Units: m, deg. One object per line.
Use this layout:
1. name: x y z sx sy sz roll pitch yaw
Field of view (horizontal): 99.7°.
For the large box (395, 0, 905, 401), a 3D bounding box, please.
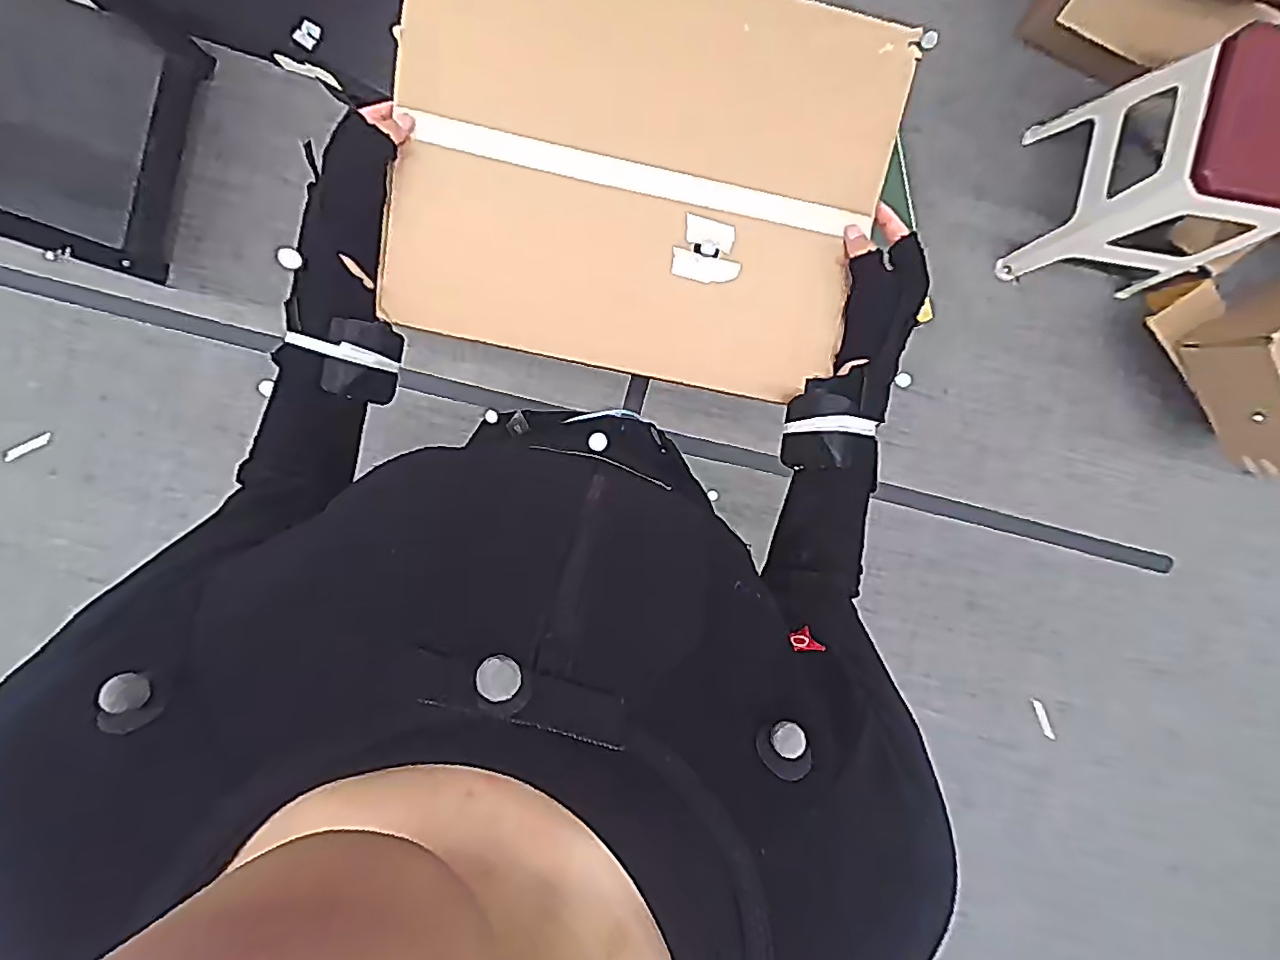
1. large box: -0.007 -0.283 0.610 0.408 0.320 0.320 10 102 -6
